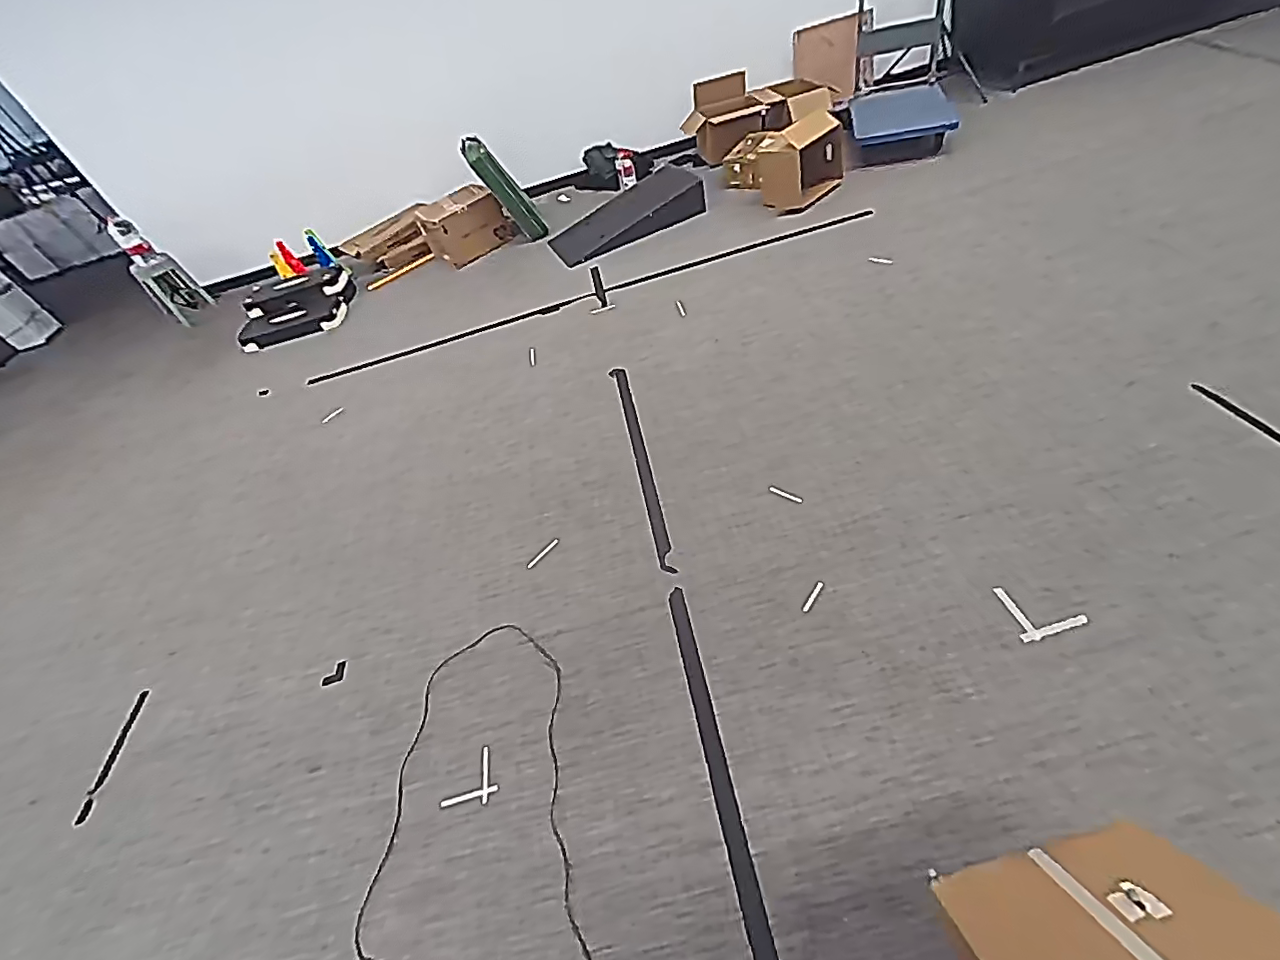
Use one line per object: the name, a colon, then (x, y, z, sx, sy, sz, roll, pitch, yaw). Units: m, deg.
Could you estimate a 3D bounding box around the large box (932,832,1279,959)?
large box: (0.607, 0.680, 0.579, 0.320, 0.408, 0.320, -17, 83, 3)
